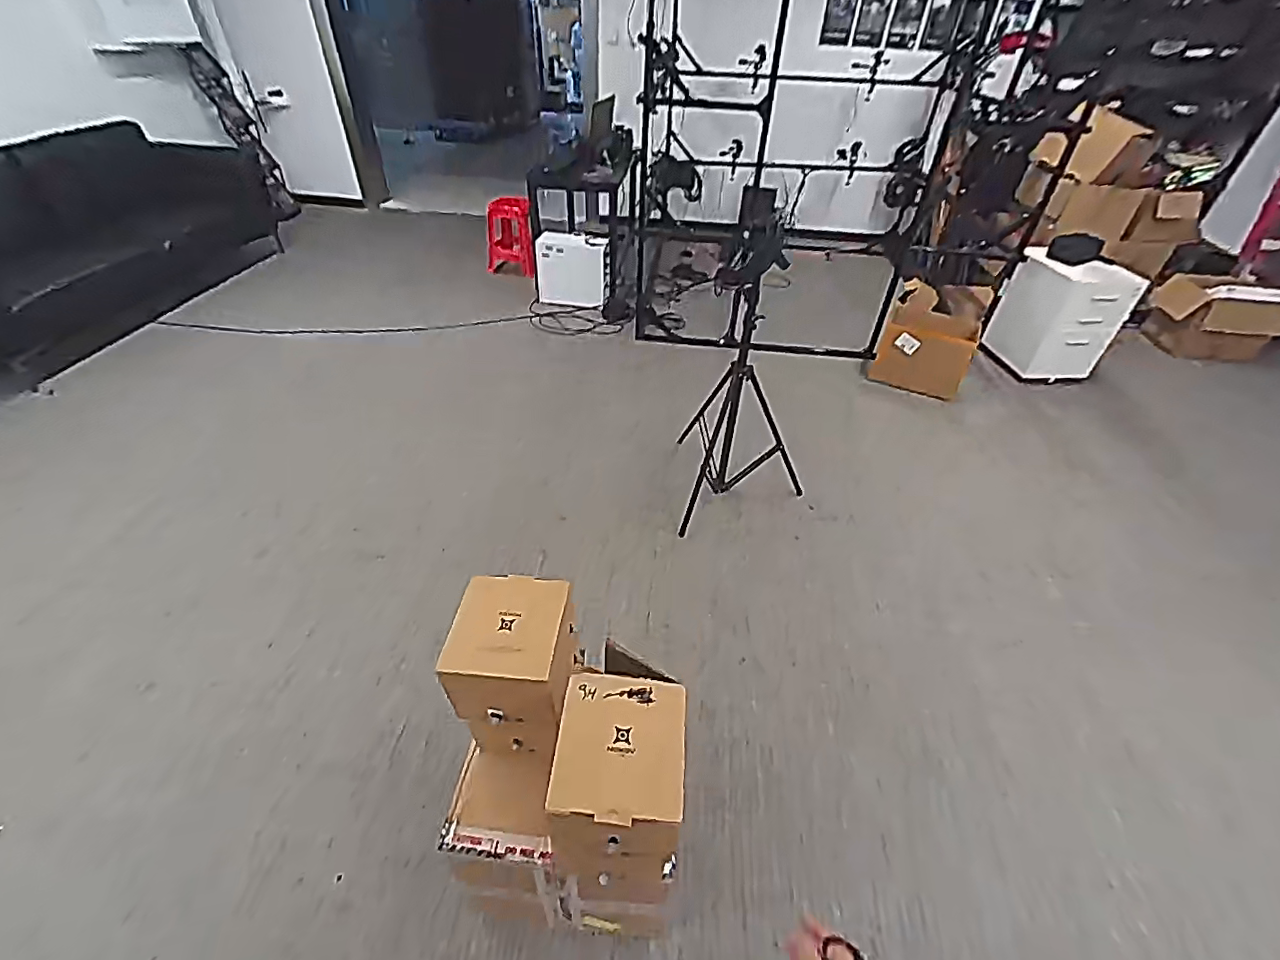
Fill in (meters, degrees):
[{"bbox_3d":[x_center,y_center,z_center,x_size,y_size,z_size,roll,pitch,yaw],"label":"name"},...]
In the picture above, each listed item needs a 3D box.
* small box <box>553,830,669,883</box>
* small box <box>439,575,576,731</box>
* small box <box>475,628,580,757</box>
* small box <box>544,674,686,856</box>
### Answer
[{"bbox_3d":[-0.039,0.514,0.863,0.168,0.176,0.179,4,43,1],"label":"small box"},{"bbox_3d":[-0.199,0.278,0.874,0.168,0.176,0.179,3,43,4],"label":"small box"},{"bbox_3d":[-0.205,0.384,0.999,0.168,0.176,0.179,4,43,4],"label":"small box"},{"bbox_3d":[-0.027,0.397,0.749,0.168,0.176,0.179,5,43,2],"label":"small box"}]
